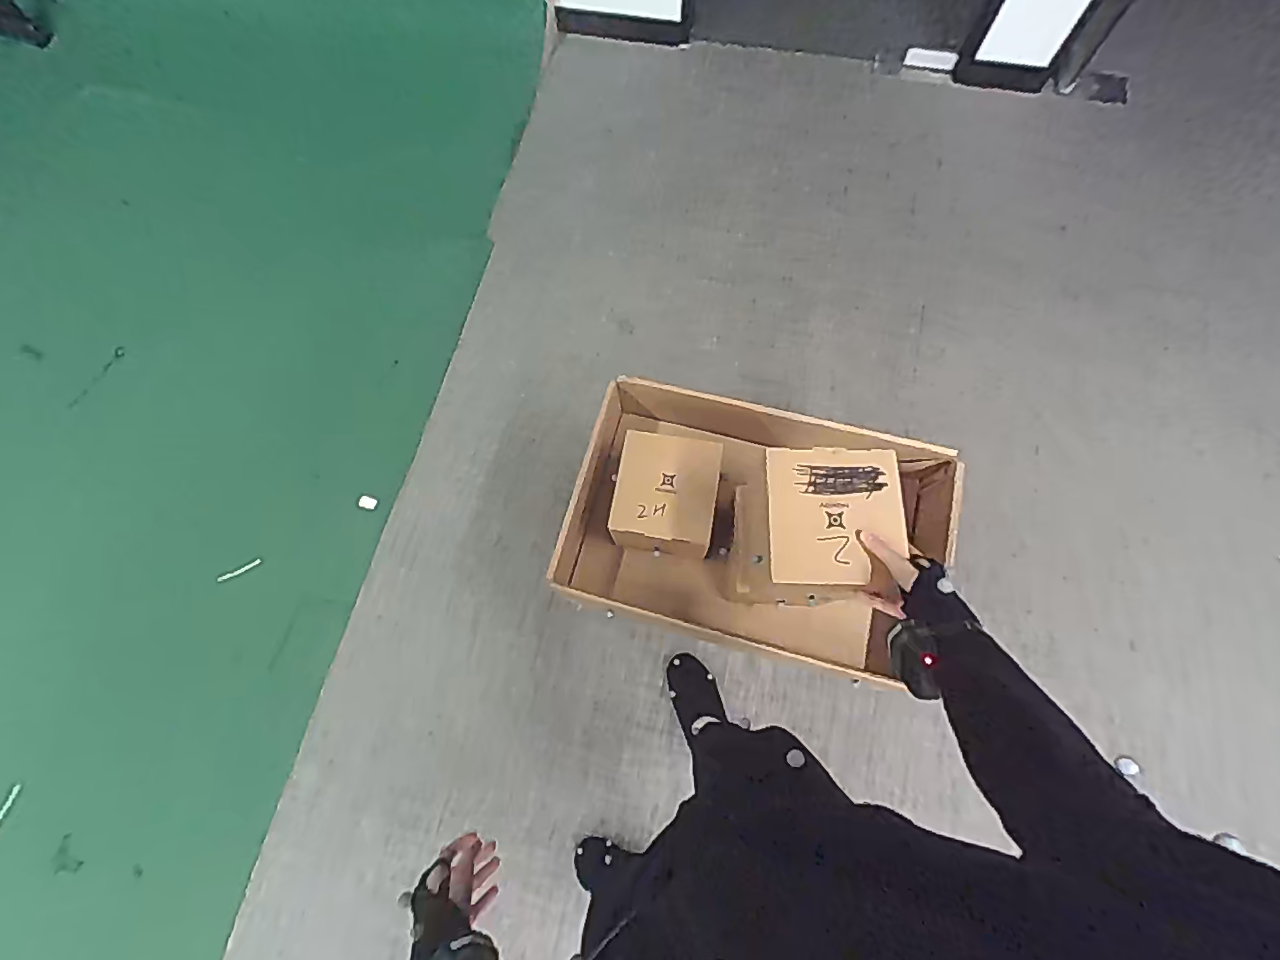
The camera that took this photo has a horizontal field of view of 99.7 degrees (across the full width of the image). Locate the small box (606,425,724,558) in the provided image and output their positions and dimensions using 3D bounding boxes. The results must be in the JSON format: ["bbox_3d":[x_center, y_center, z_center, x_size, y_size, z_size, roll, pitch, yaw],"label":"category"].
[{"bbox_3d":[0.045,0.027,0.947,0.168,0.176,0.179,10,74,6],"label":"small box"}]

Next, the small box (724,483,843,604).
[{"bbox_3d":[0.234,0.114,0.913,0.168,0.176,0.179,3,74,3],"label":"small box"}]
